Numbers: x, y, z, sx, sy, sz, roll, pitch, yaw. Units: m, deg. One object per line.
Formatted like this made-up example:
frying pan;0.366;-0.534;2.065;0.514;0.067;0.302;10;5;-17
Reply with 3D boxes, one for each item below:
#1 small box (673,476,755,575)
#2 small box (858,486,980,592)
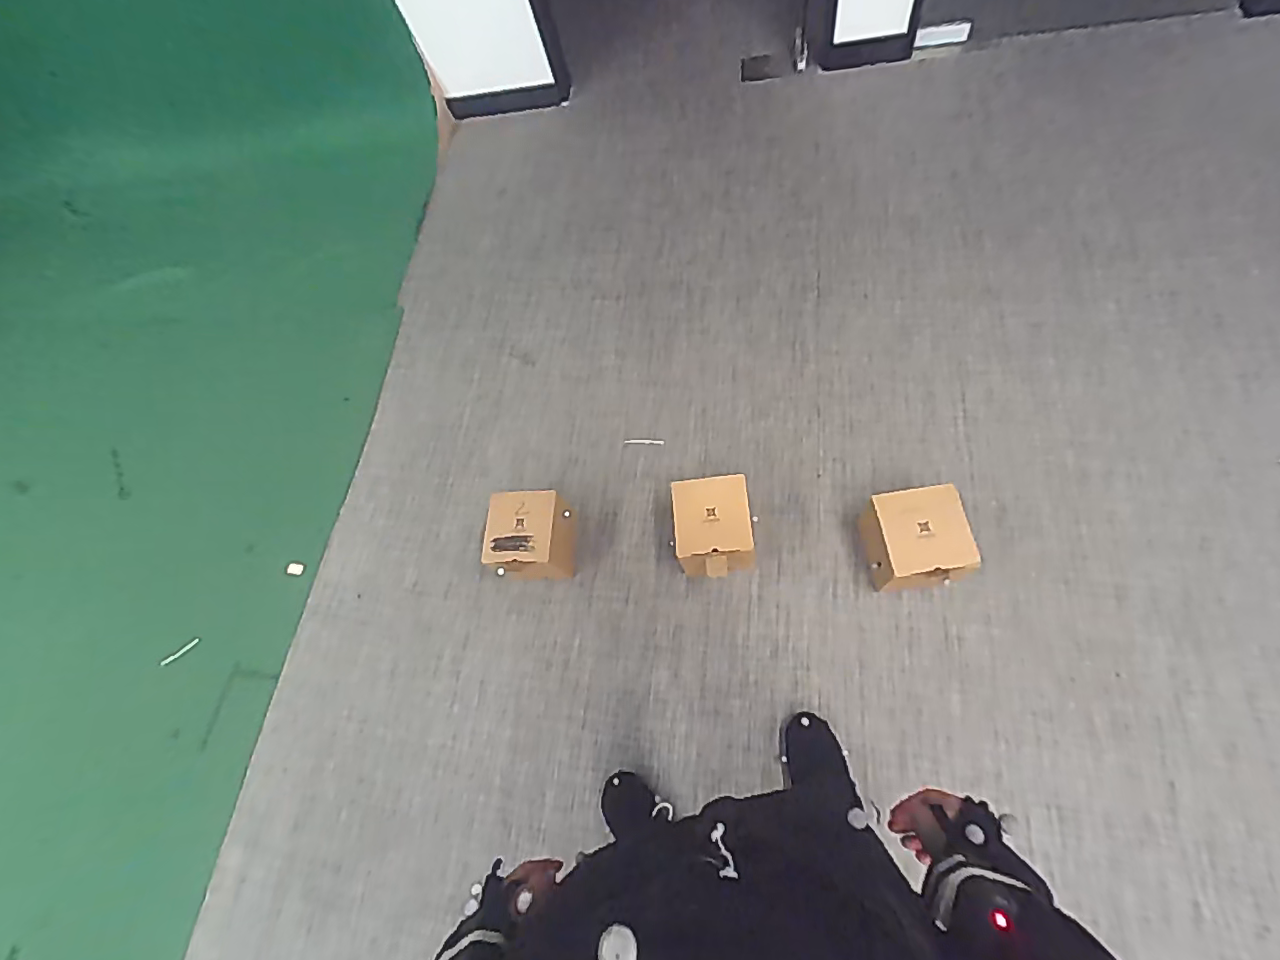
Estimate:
small box;0.170;0.109;1.241;0.168;0.176;0.179;-7;67;9
small box;0.578;0.134;1.147;0.168;0.176;0.179;-9;65;6
